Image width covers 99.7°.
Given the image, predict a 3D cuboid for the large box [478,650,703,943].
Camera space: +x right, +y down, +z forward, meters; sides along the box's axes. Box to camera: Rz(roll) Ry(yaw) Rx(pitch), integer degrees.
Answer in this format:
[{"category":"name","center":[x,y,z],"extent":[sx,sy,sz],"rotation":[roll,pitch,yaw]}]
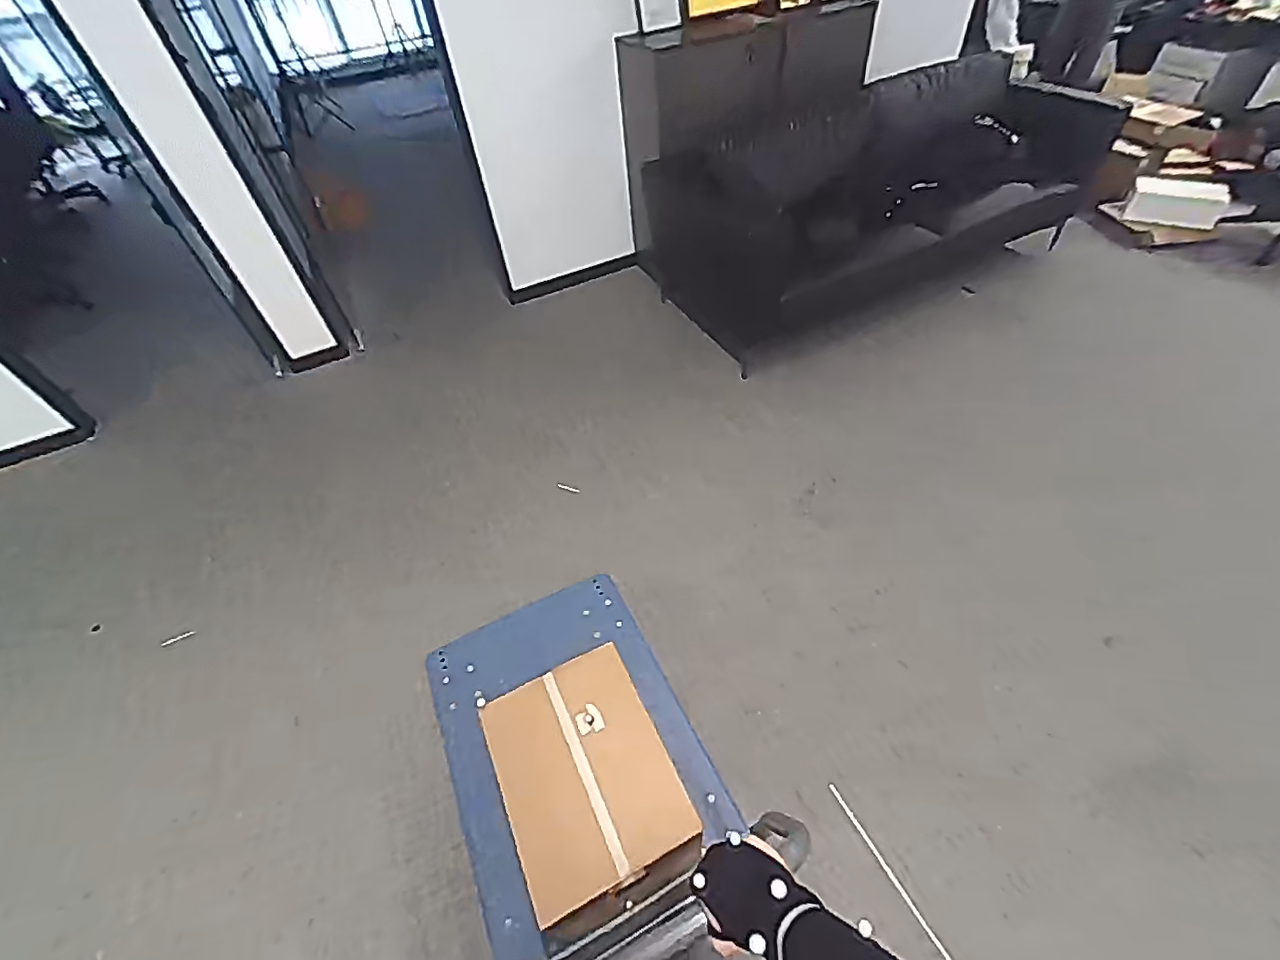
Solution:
[{"category":"large box","center":[-0.098,0.657,1.145],"extent":[0.320,0.320,0.408],"rotation":[-23,49,-15]}]
